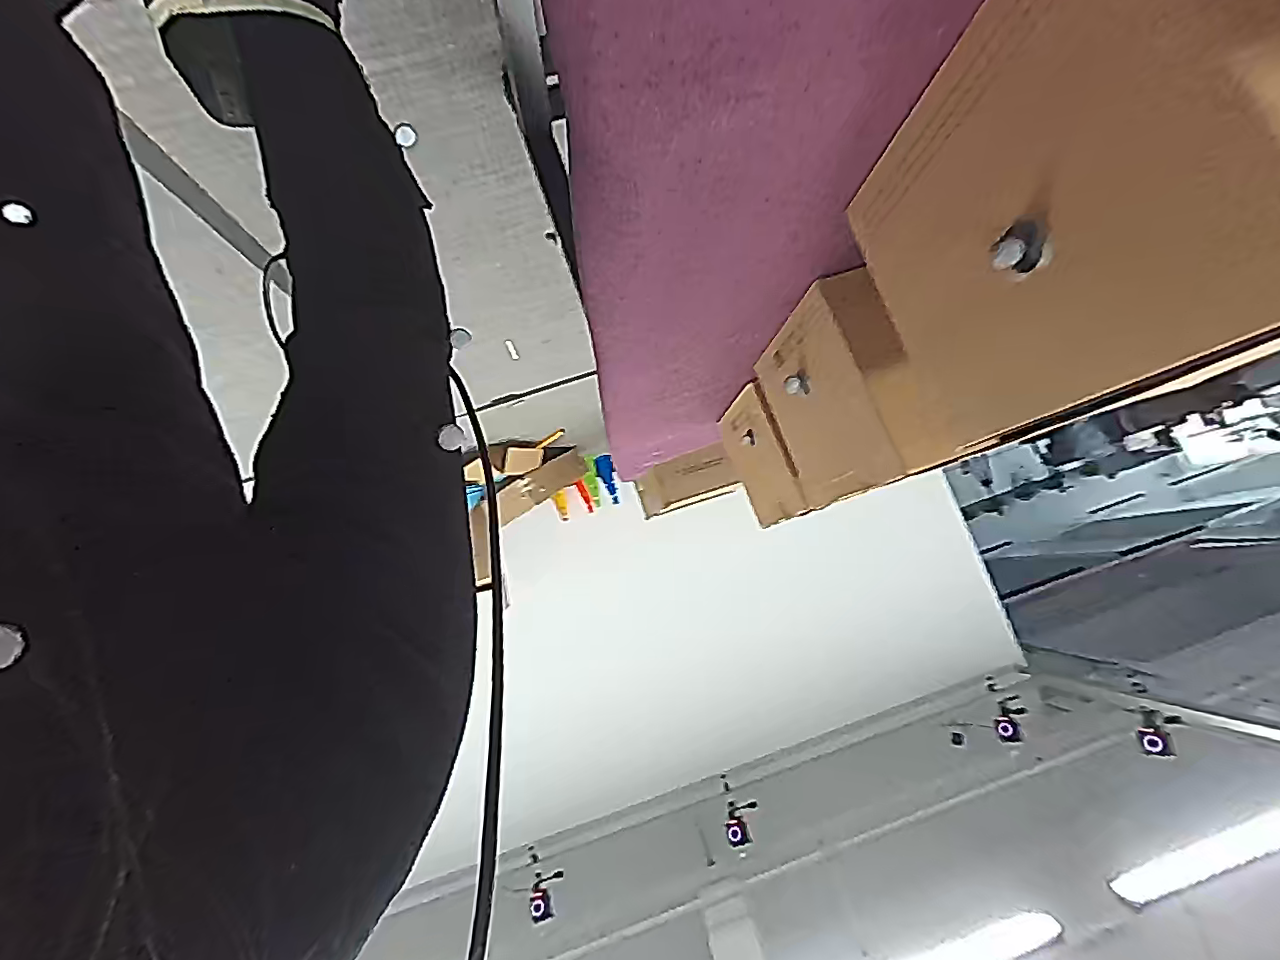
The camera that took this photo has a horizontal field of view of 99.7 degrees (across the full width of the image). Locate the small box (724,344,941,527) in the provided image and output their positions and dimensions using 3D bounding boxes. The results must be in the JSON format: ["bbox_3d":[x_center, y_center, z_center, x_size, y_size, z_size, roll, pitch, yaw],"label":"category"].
[{"bbox_3d":[0.232,-0.054,0.695,0.179,0.176,0.168,-18,170,-9],"label":"small box"}]

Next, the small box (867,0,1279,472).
[{"bbox_3d":[0.244,-0.112,0.304,0.168,0.176,0.179,20,178,18],"label":"small box"}]
